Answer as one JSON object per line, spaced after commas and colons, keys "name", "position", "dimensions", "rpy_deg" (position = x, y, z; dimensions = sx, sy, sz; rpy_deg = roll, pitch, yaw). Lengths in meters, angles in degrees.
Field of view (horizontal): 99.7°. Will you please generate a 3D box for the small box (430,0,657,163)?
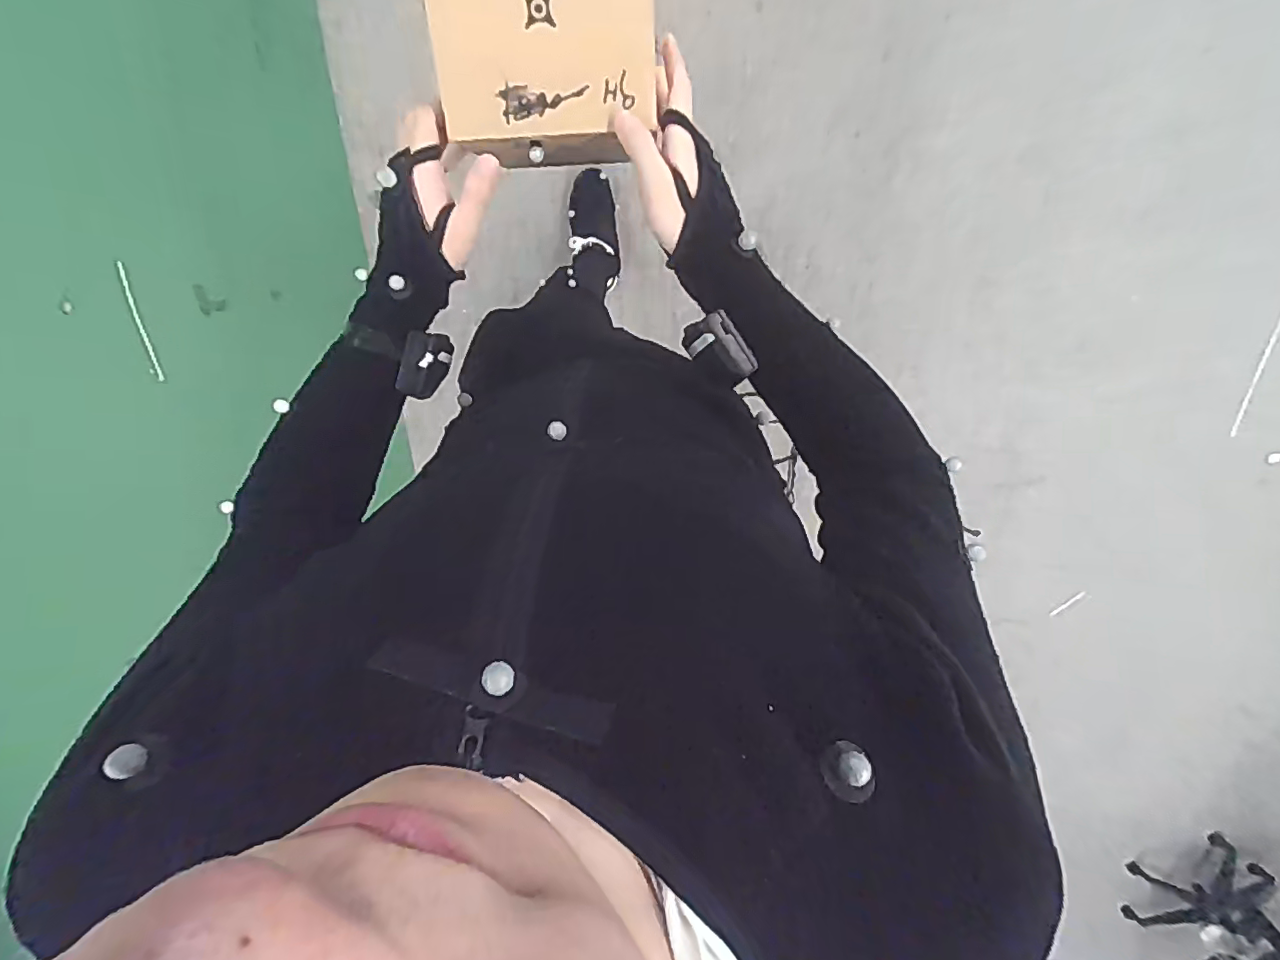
{"name": "small box", "position": [-0.071, -0.385, 0.461], "dimensions": [0.168, 0.176, 0.179], "rpy_deg": [-1, 114, 2]}
